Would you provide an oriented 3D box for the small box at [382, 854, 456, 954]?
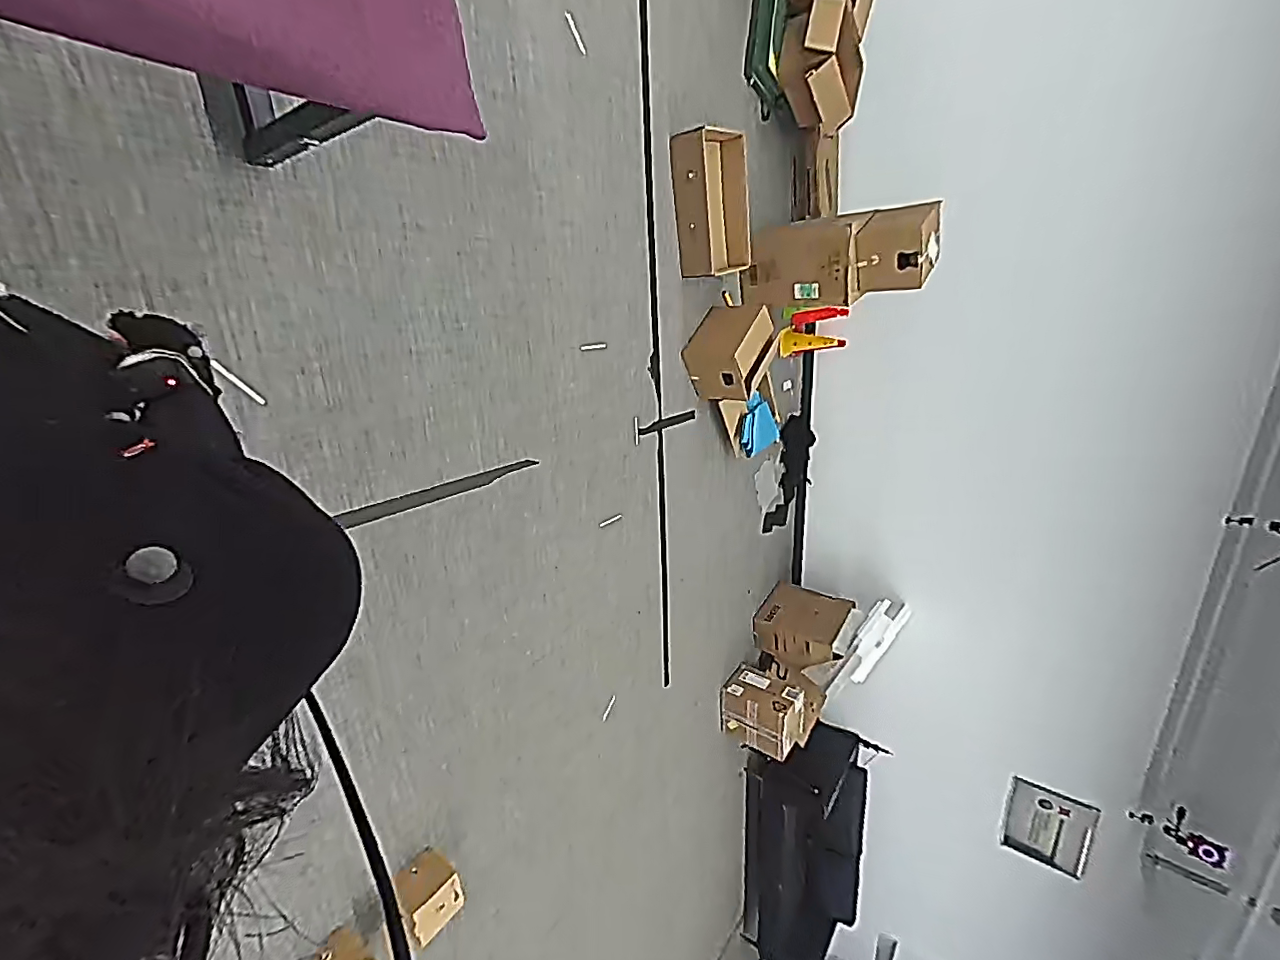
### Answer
[{"bbox_3d":[-0.772,1.461,1.875,0.179,0.176,0.168,-25,119,-49],"label":"small box"}]

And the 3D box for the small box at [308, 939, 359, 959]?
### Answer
[{"bbox_3d":[-0.948,1.568,1.660,0.168,0.176,0.179,-46,132,-39],"label":"small box"}]
